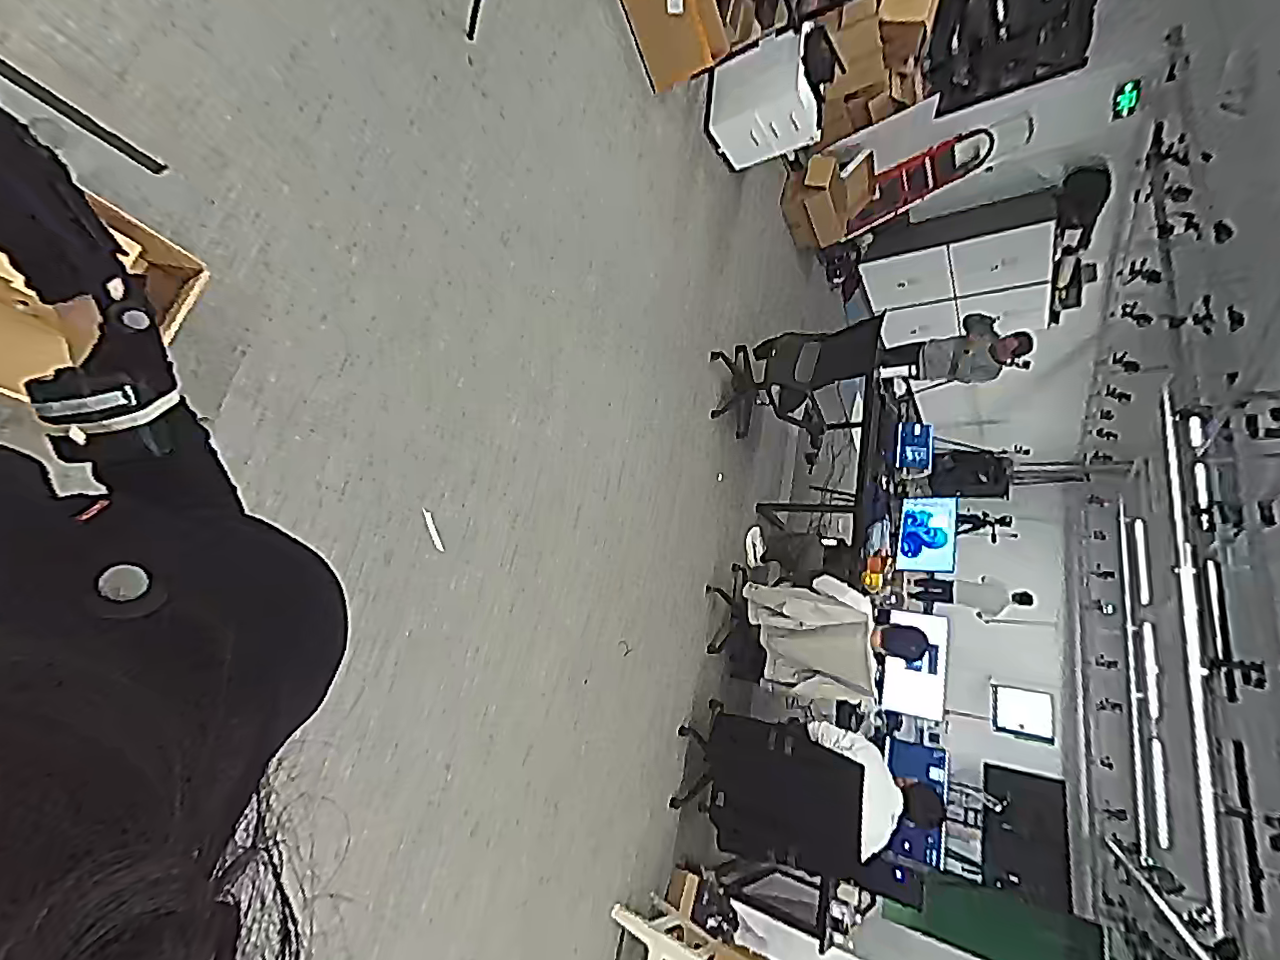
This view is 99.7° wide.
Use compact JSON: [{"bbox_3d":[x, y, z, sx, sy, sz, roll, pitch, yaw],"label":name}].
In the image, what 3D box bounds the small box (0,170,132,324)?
[{"bbox_3d":[-1.078,-0.405,0.973,0.168,0.176,0.179,38,61,-48],"label":"small box"}]
